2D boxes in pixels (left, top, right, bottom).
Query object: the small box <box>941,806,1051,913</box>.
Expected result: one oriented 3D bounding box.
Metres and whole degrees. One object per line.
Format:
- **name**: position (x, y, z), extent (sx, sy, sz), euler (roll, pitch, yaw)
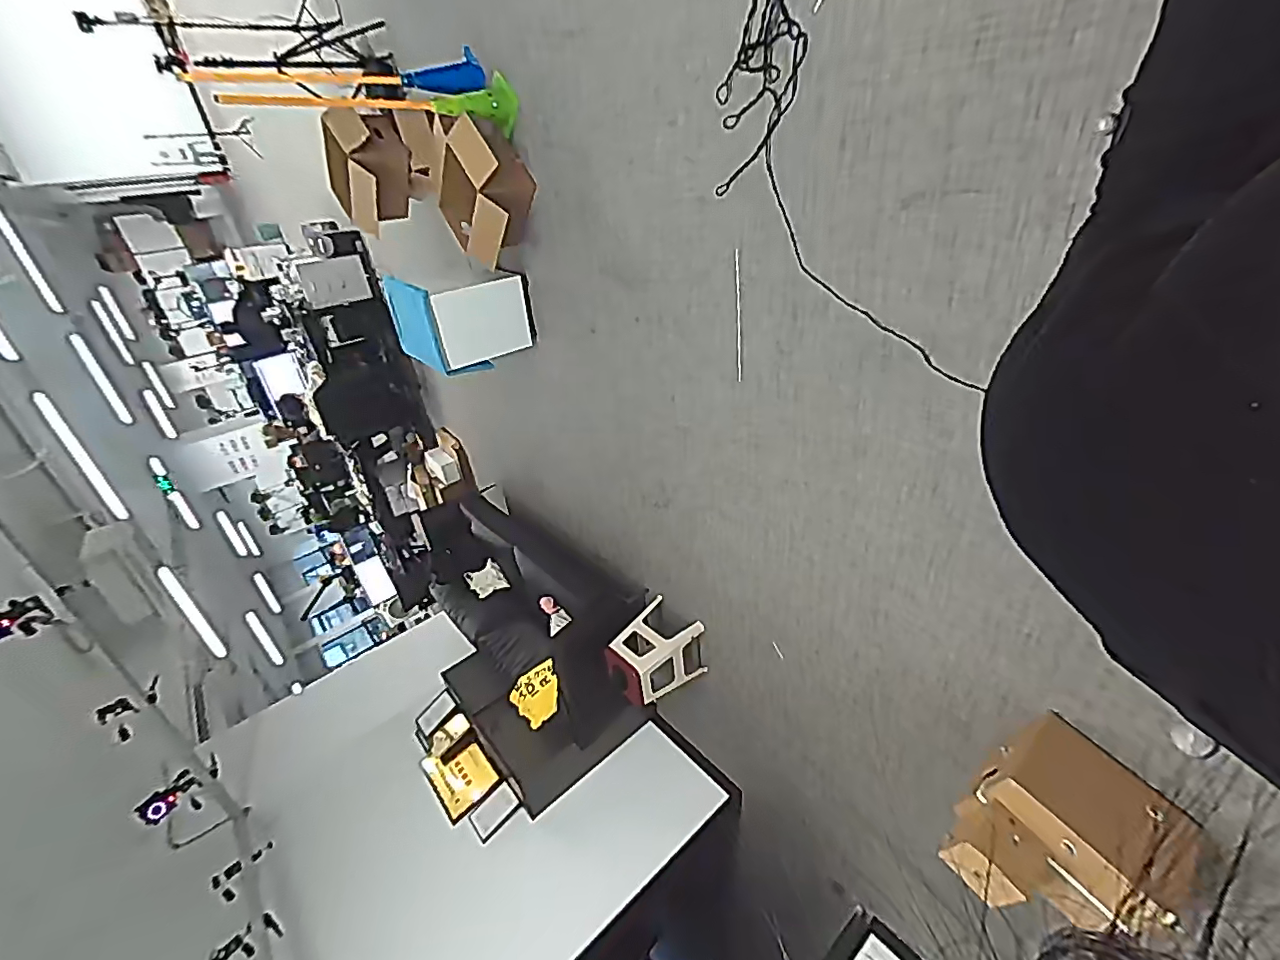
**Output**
- **small box**: position (0.993, 1.053, 1.505), extent (0.168, 0.176, 0.179), euler (43, 145, 30)
